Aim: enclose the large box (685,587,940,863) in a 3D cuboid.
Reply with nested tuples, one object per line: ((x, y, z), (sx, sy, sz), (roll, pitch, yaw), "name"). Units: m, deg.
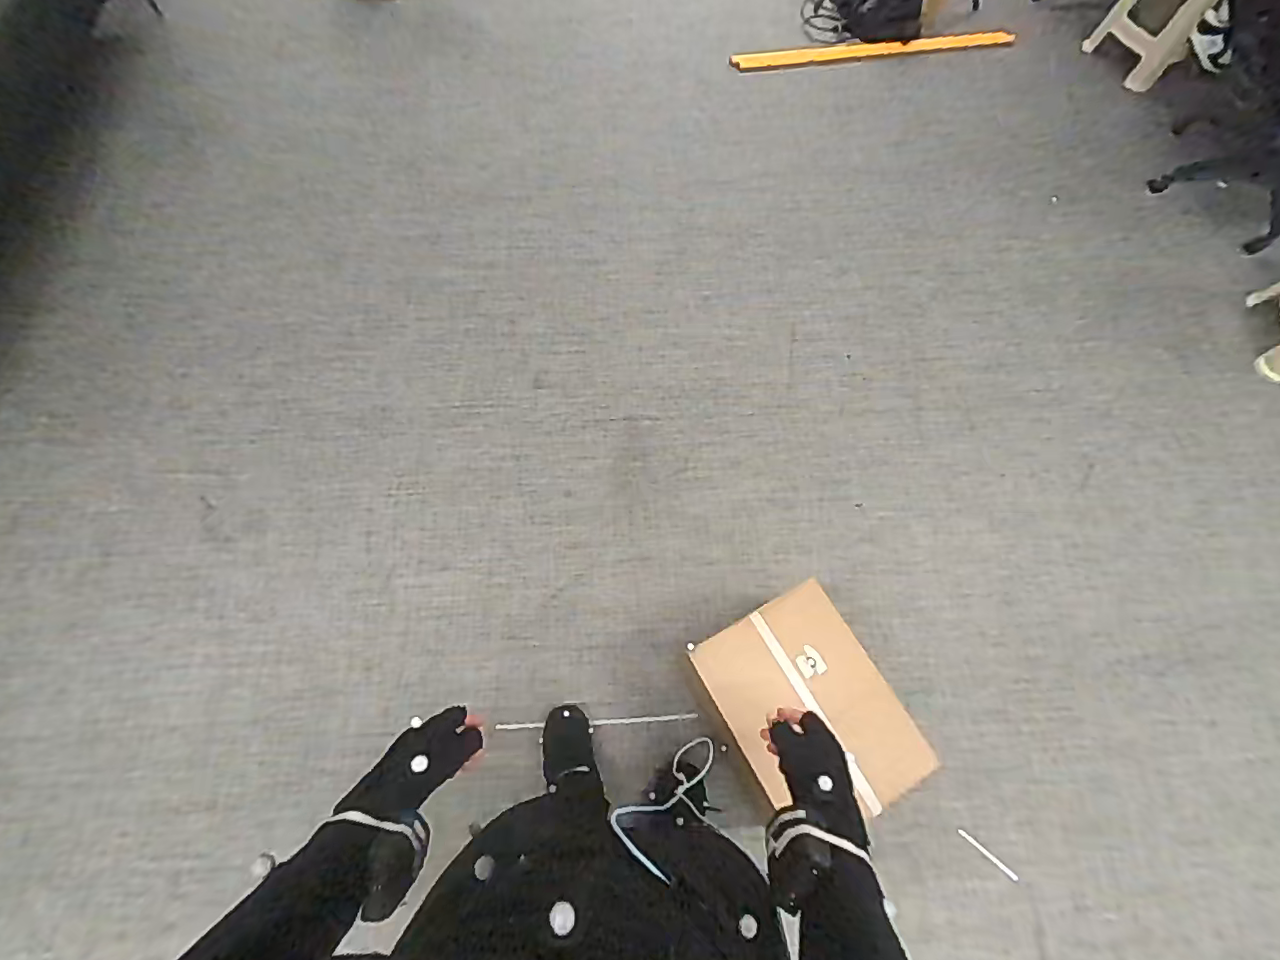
((0.334, 0.508, 1.178), (0.320, 0.320, 0.408), (-27, 69, -11), "large box")
